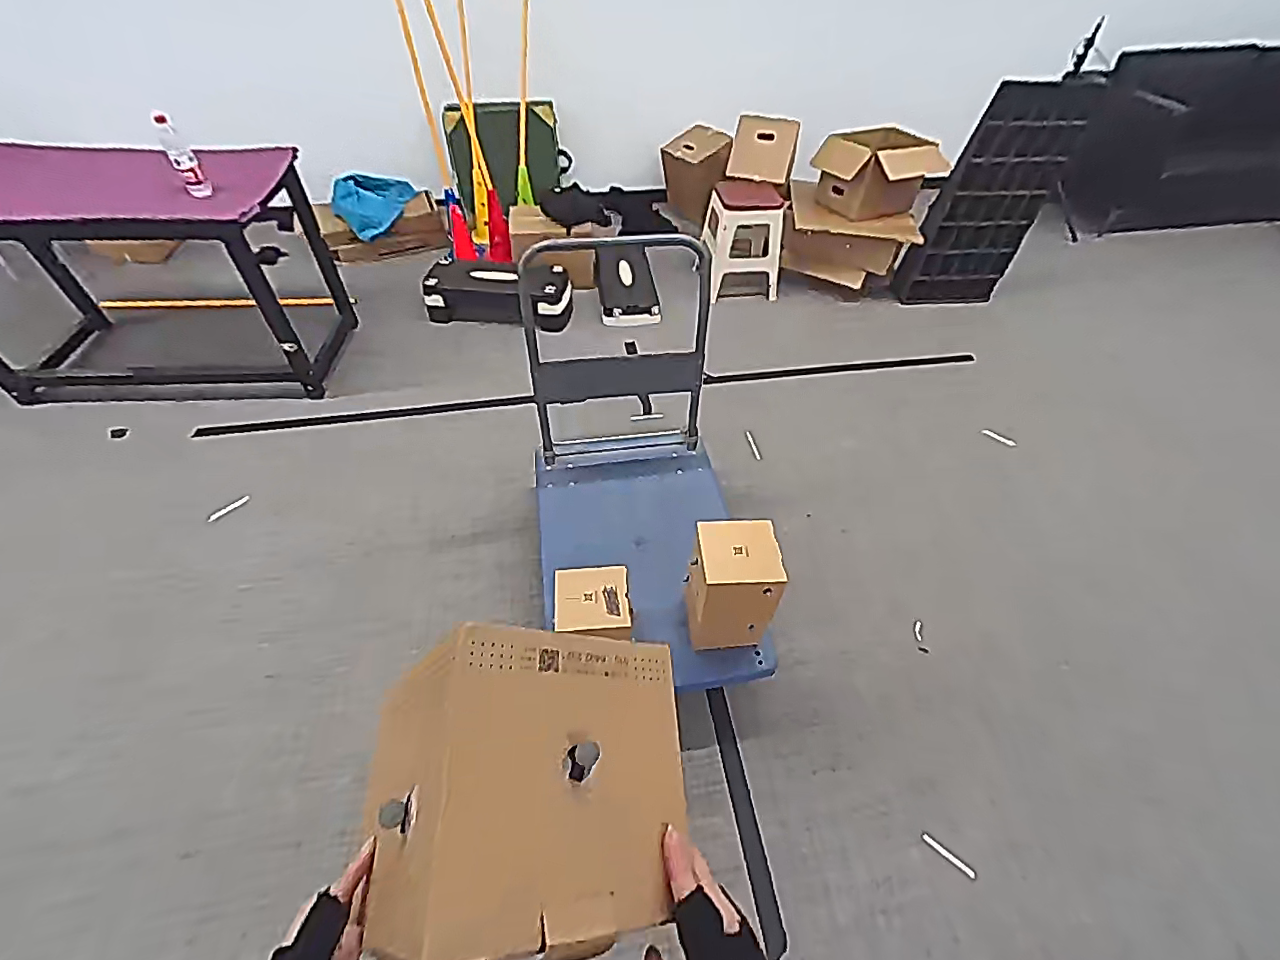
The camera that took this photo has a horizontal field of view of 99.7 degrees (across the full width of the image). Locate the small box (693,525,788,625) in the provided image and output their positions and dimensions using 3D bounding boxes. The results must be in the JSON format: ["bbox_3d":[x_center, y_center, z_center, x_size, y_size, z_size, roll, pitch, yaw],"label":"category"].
[{"bbox_3d":[0.219,0.220,1.234,0.179,0.176,0.168,-1,48,-4],"label":"small box"}]

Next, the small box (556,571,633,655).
[{"bbox_3d":[-0.111,0.342,1.330,0.179,0.176,0.168,-3,48,-4],"label":"small box"}]

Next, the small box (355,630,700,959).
[{"bbox_3d":[-0.083,0.219,0.391,0.168,0.179,0.176,18,51,-31],"label":"small box"}]
